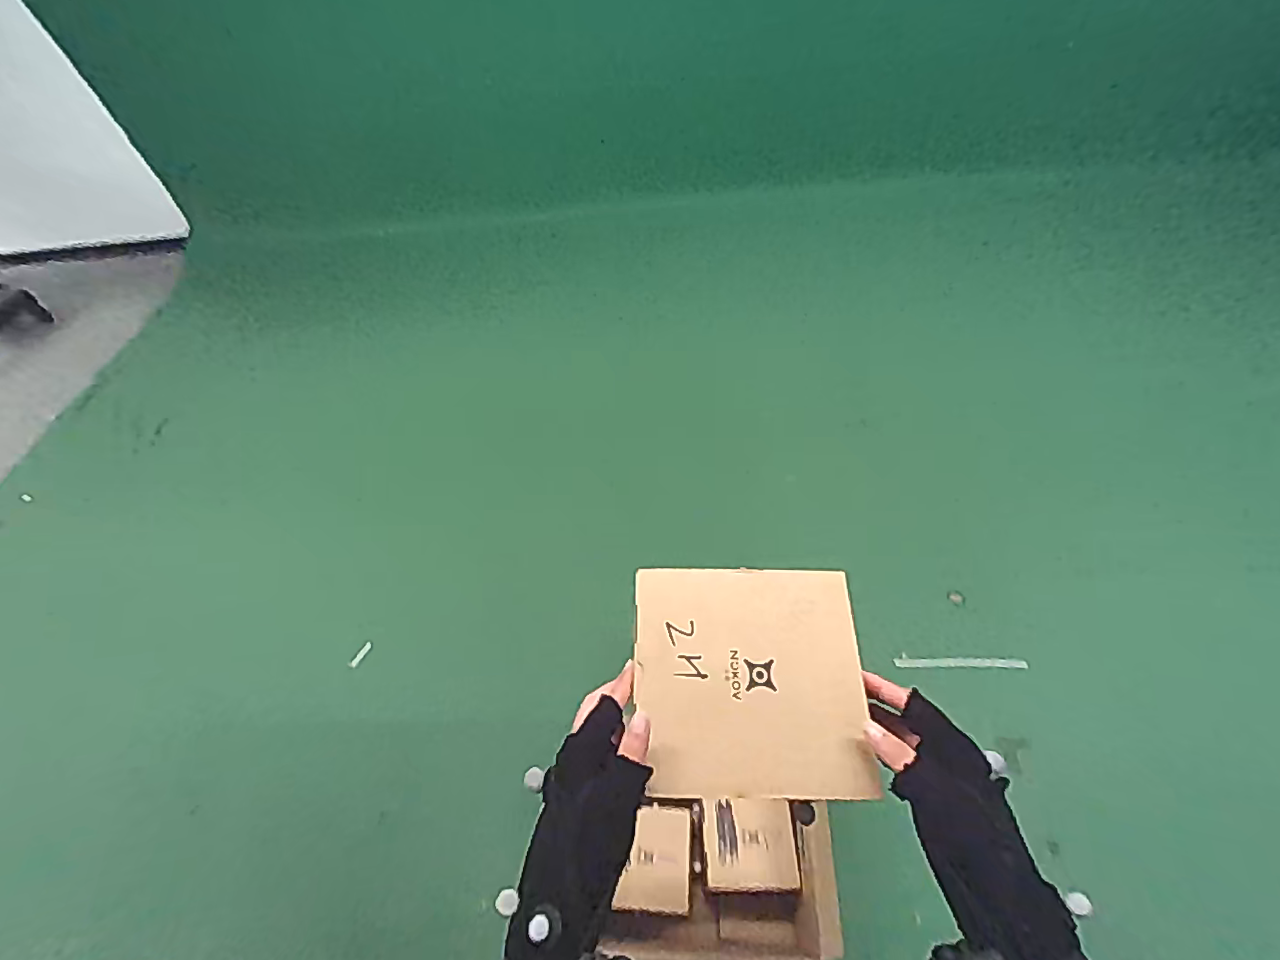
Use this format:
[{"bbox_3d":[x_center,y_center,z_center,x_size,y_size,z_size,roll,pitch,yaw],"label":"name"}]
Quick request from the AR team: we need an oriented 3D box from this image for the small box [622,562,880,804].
[{"bbox_3d":[0.076,0.177,0.468,0.179,0.176,0.168,0,62,1],"label":"small box"}]
